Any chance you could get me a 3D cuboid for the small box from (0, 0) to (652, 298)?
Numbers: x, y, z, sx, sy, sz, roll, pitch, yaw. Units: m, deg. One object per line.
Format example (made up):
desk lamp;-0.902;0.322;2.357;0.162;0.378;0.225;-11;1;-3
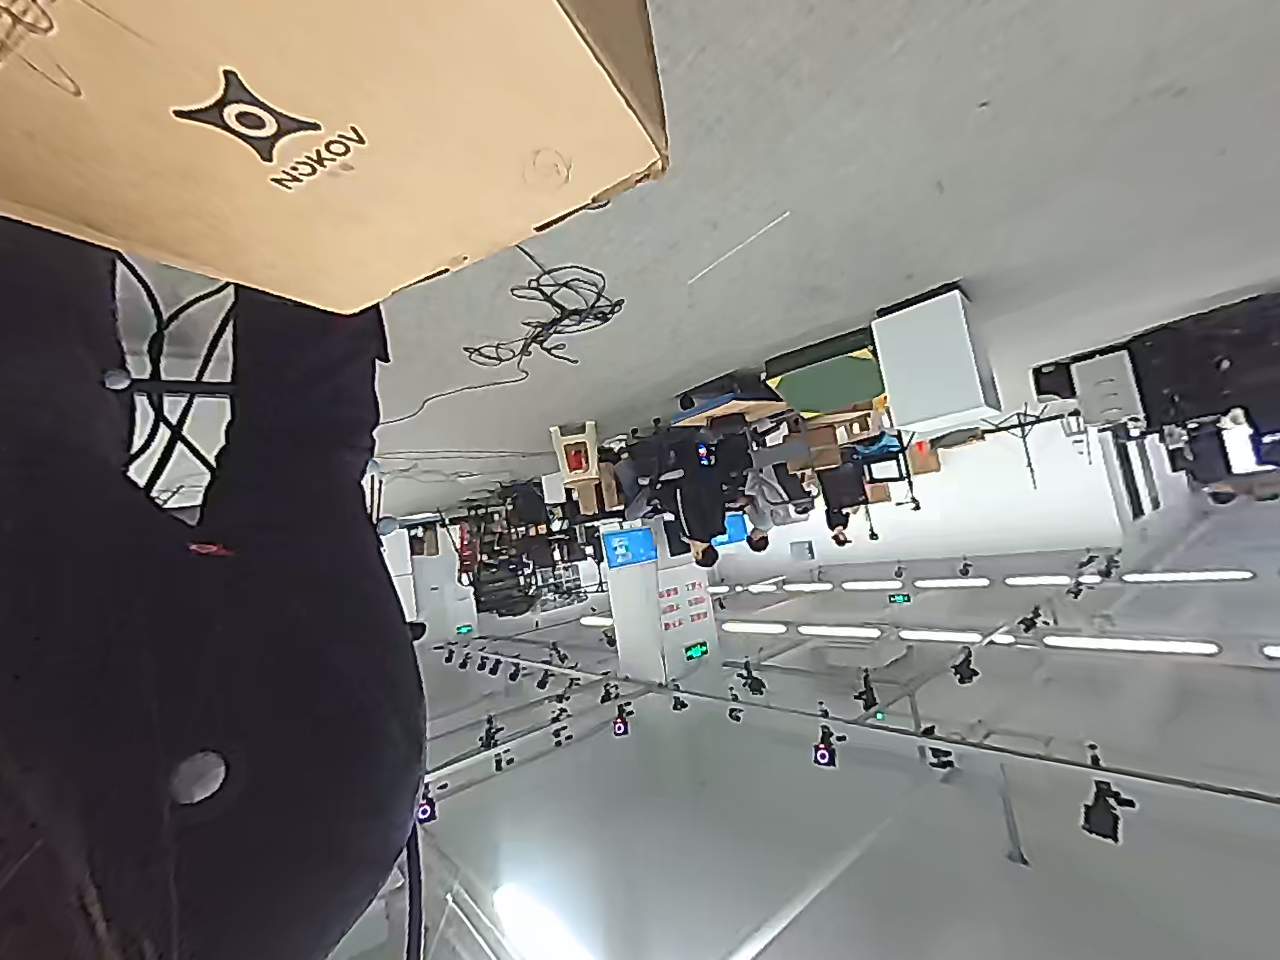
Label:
small box;-0.113;-0.178;0.147;0.168;0.176;0.179;-12;175;24
